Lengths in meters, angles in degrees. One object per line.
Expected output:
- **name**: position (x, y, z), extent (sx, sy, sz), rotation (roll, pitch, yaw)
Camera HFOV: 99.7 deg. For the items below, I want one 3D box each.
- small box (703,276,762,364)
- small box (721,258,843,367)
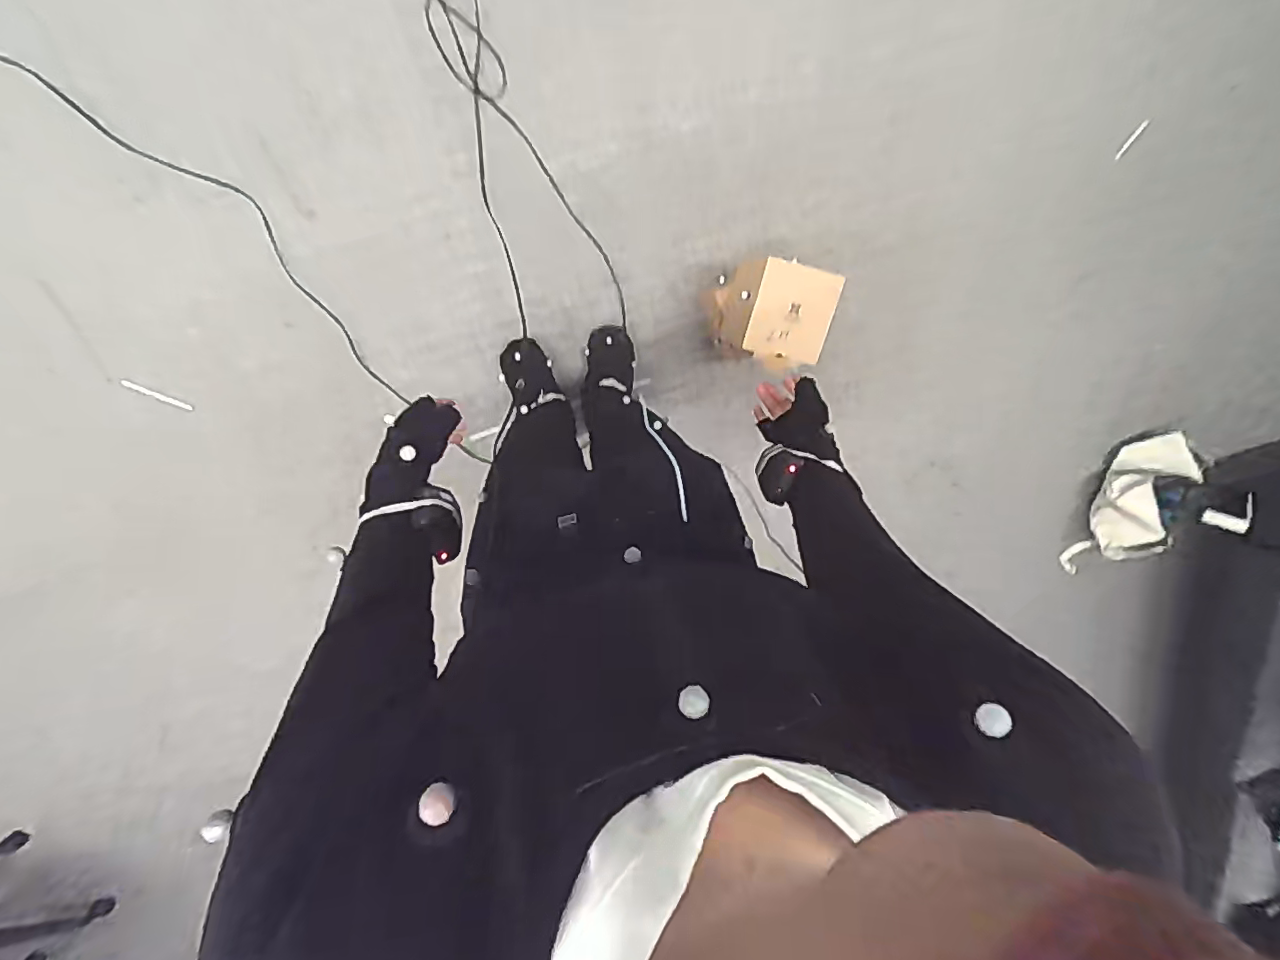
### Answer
- **small box**: position (0.259, -0.389, 1.266), extent (0.179, 0.176, 0.168), rotation (-23, 114, 0)
- **small box**: position (0.282, -0.351, 1.124), extent (0.168, 0.176, 0.179), rotation (10, 110, -13)
